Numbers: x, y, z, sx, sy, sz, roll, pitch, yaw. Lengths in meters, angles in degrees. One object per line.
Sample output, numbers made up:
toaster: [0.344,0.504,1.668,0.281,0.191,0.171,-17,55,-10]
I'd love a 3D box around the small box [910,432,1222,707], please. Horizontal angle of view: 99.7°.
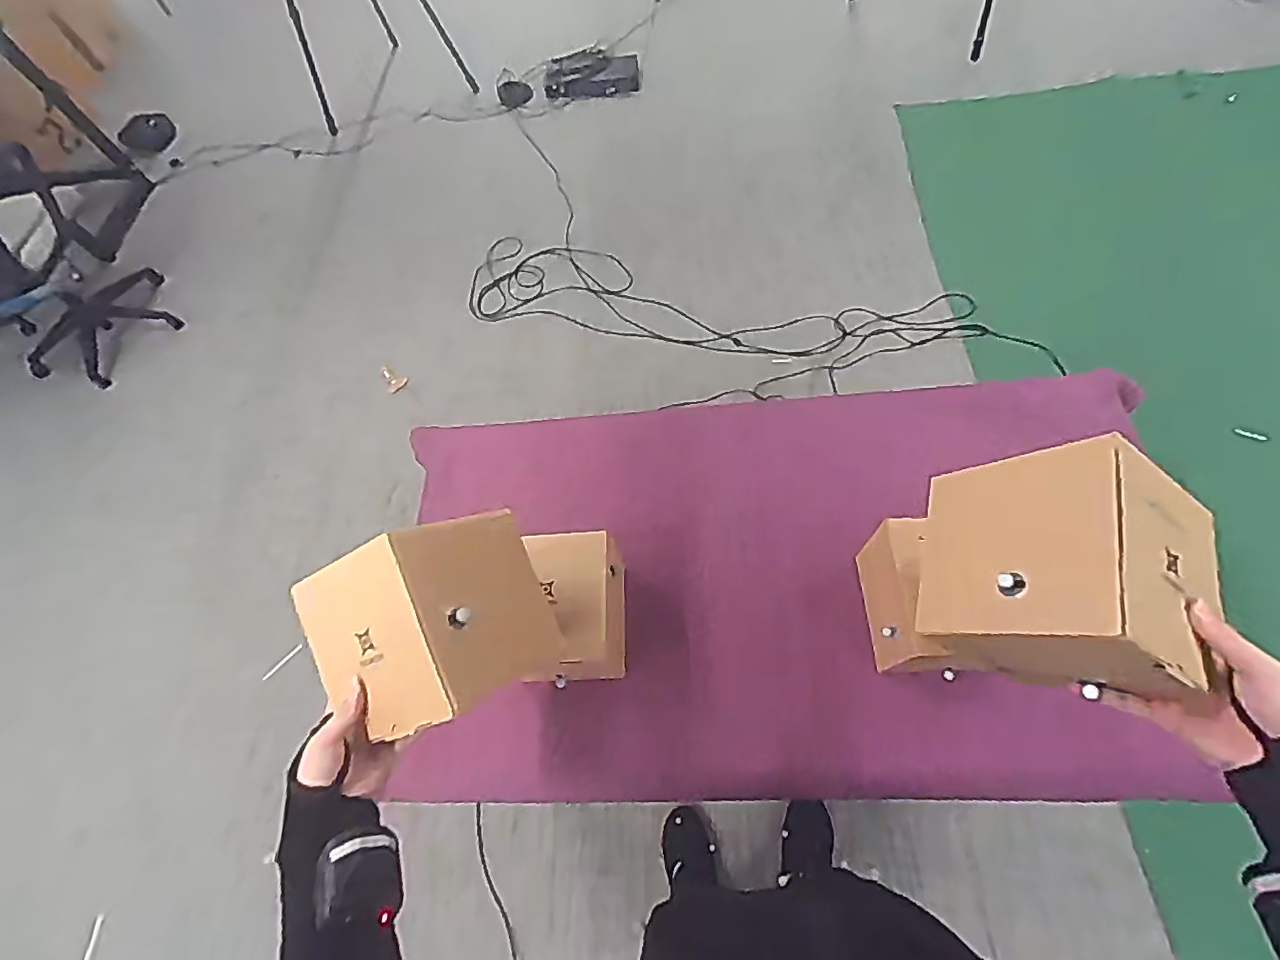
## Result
small box: [0.383,0.088,0.505,0.168,0.176,0.179,29,66,-19]

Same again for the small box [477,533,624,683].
small box: [-0.118,0.192,0.787,0.168,0.176,0.179,-5,63,6]
